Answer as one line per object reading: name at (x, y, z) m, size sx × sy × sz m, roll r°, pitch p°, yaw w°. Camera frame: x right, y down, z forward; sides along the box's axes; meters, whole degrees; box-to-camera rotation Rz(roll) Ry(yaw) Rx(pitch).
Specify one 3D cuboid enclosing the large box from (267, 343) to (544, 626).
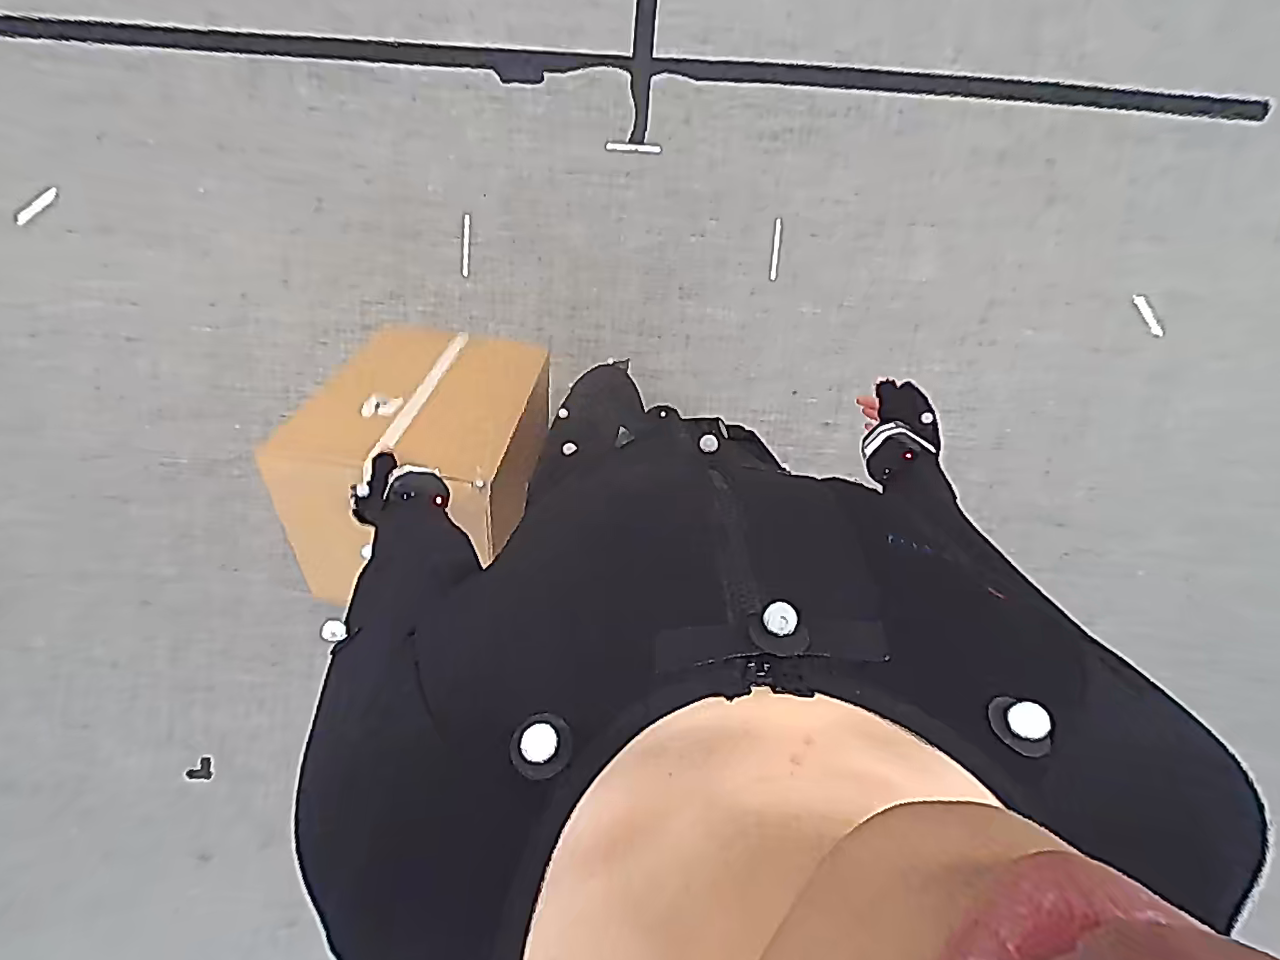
large box at (-0.359, -0.006, 0.973) m, size 0.320 × 0.408 × 0.320 m, roll 6°, pitch 128°, yaw 0°
